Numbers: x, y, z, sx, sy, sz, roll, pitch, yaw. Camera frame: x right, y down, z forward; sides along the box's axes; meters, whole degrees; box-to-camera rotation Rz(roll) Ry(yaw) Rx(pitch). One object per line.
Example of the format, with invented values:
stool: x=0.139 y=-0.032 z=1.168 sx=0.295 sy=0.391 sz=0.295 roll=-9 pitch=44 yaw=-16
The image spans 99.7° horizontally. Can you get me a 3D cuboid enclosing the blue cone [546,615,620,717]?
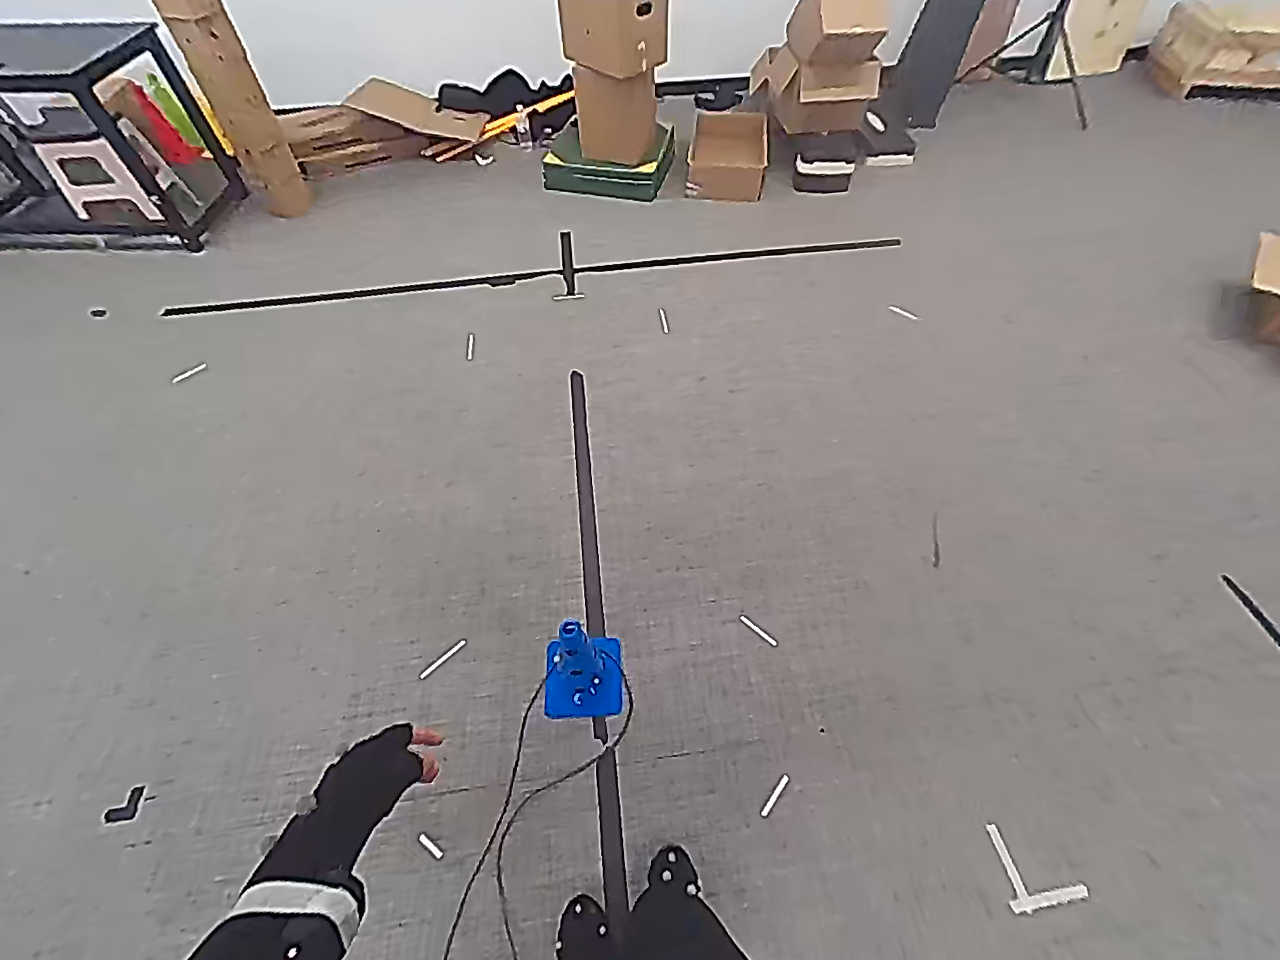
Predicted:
blue cone: x=-0.152 y=0.412 z=1.263 sx=0.193 sy=0.380 sz=0.192 roll=-4 pitch=55 yaw=-2
